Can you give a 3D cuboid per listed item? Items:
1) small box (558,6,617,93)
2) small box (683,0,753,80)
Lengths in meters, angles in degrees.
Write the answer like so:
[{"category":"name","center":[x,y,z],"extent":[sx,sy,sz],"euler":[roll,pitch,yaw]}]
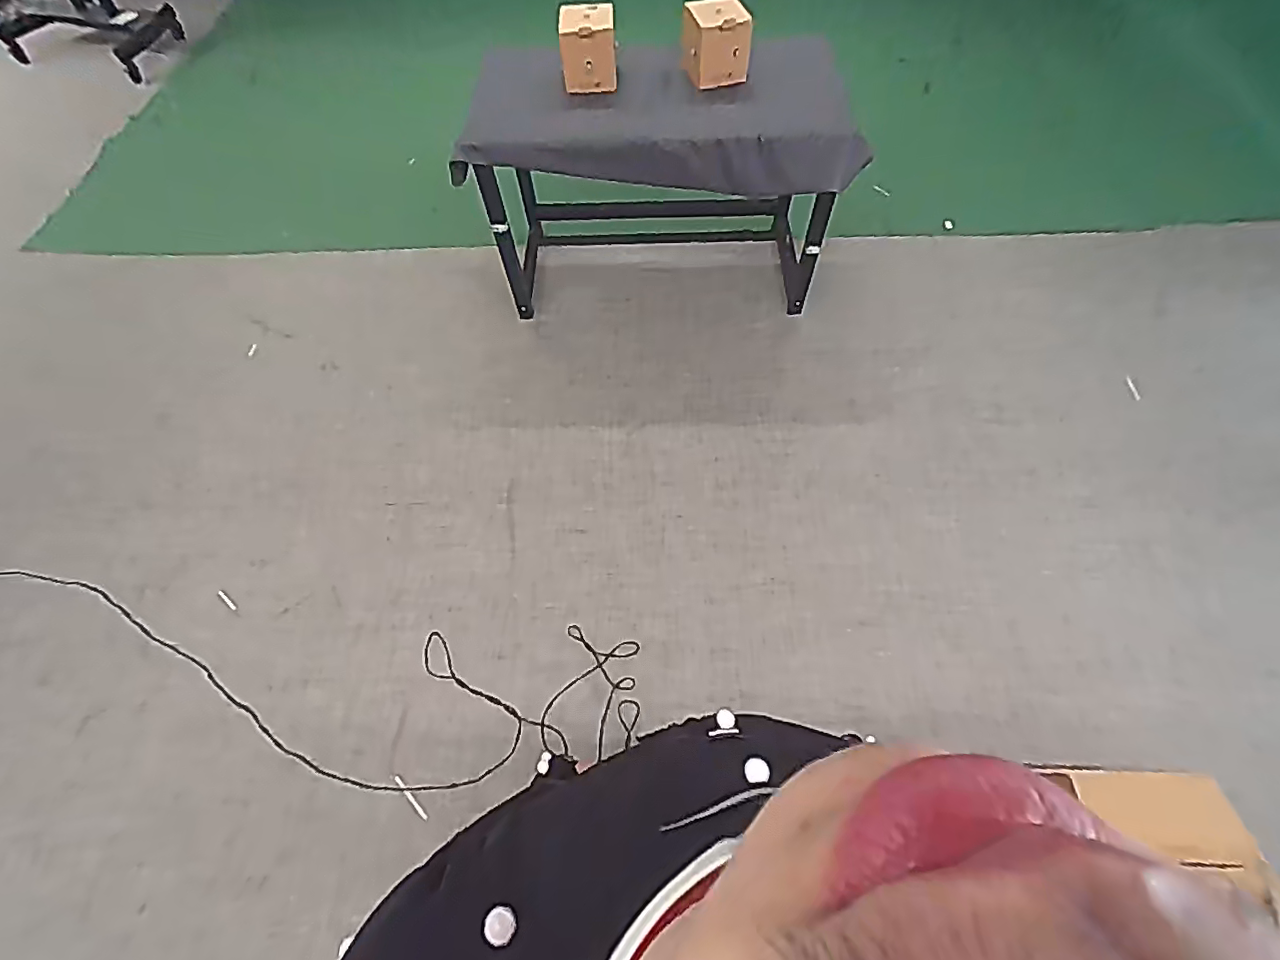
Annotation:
[{"category":"small box","center":[-0.164,-1.364,1.723],"extent":[0.168,0.176,0.179],"euler":[-6,61,0]},{"category":"small box","center":[0.239,-1.389,1.701],"extent":[0.168,0.176,0.179],"euler":[-12,61,-7]}]
